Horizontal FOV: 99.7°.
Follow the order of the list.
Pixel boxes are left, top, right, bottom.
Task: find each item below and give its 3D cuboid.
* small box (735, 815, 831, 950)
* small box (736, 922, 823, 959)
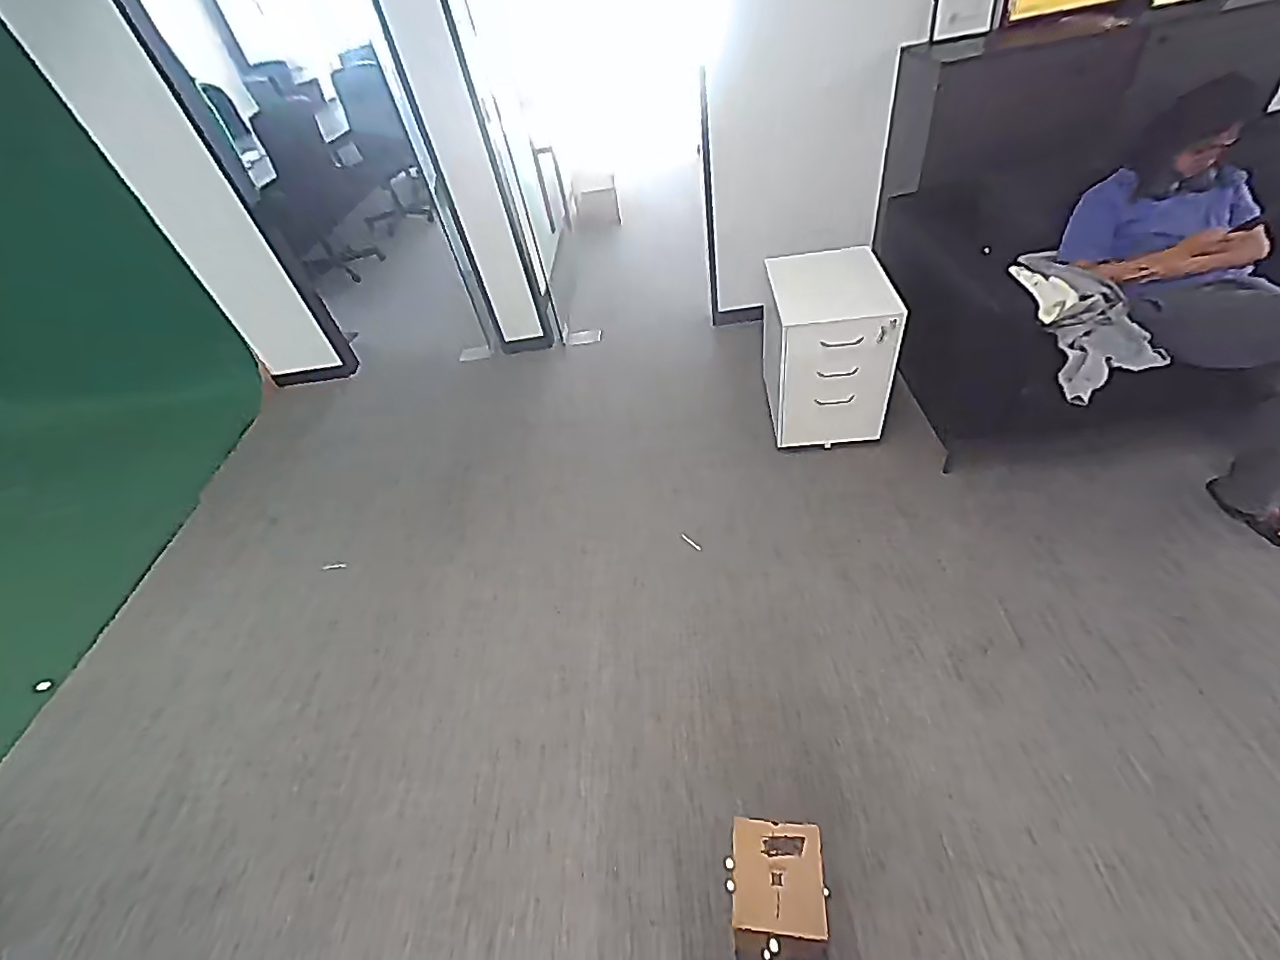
[{"bbox_3d":[0.272,0.787,1.057,0.168,0.176,0.179,0,46,11],"label":"small box"},{"bbox_3d":[0.292,0.910,1.166,0.168,0.176,0.179,-1,44,10],"label":"small box"}]
